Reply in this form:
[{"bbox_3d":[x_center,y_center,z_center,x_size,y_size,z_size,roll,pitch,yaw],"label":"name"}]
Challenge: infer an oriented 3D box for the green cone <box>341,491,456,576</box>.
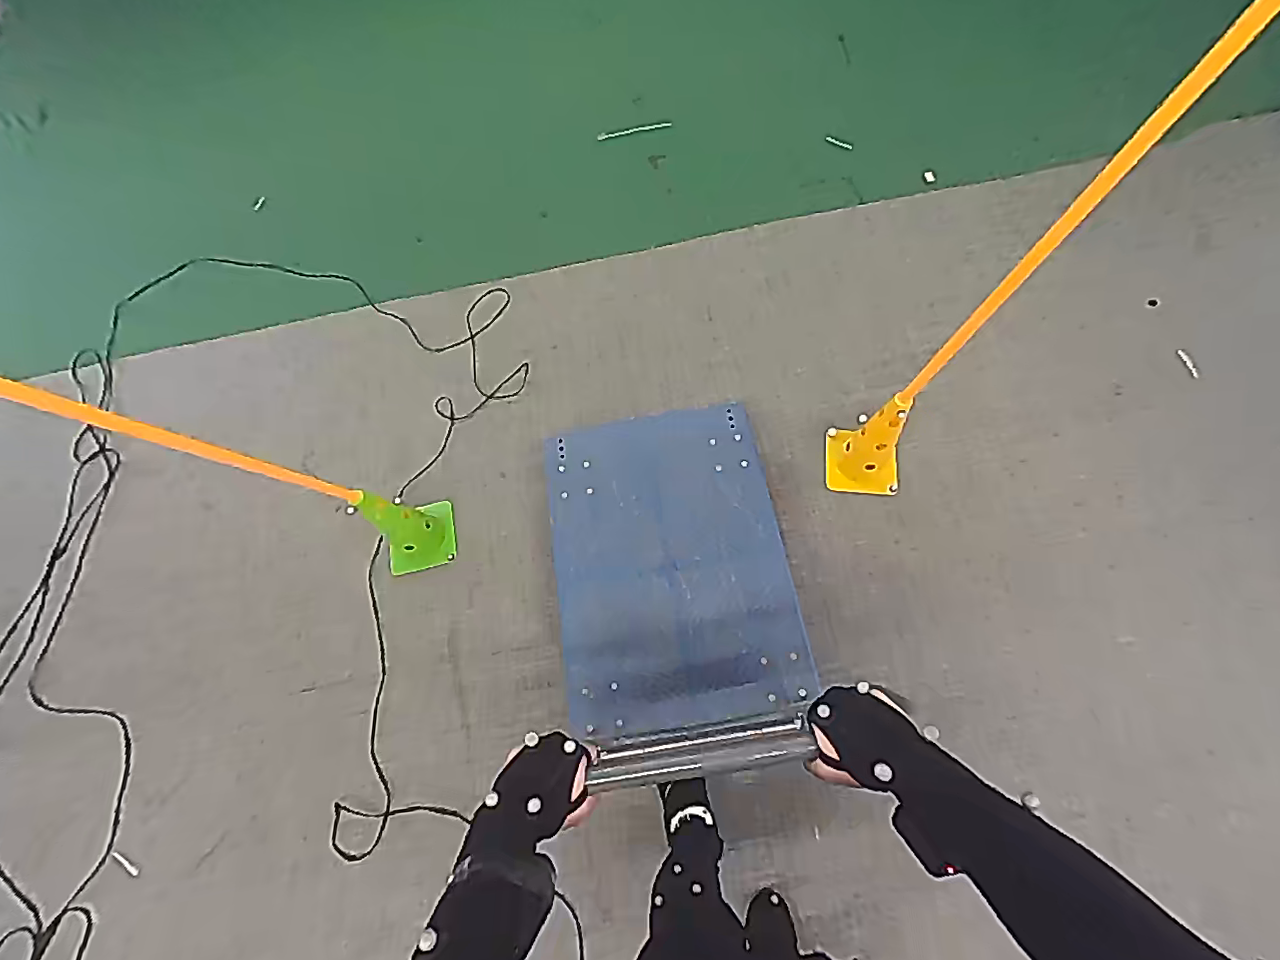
[{"bbox_3d":[-0.676,0.108,1.466,0.202,0.368,0.200,-15,66,1],"label":"green cone"}]
